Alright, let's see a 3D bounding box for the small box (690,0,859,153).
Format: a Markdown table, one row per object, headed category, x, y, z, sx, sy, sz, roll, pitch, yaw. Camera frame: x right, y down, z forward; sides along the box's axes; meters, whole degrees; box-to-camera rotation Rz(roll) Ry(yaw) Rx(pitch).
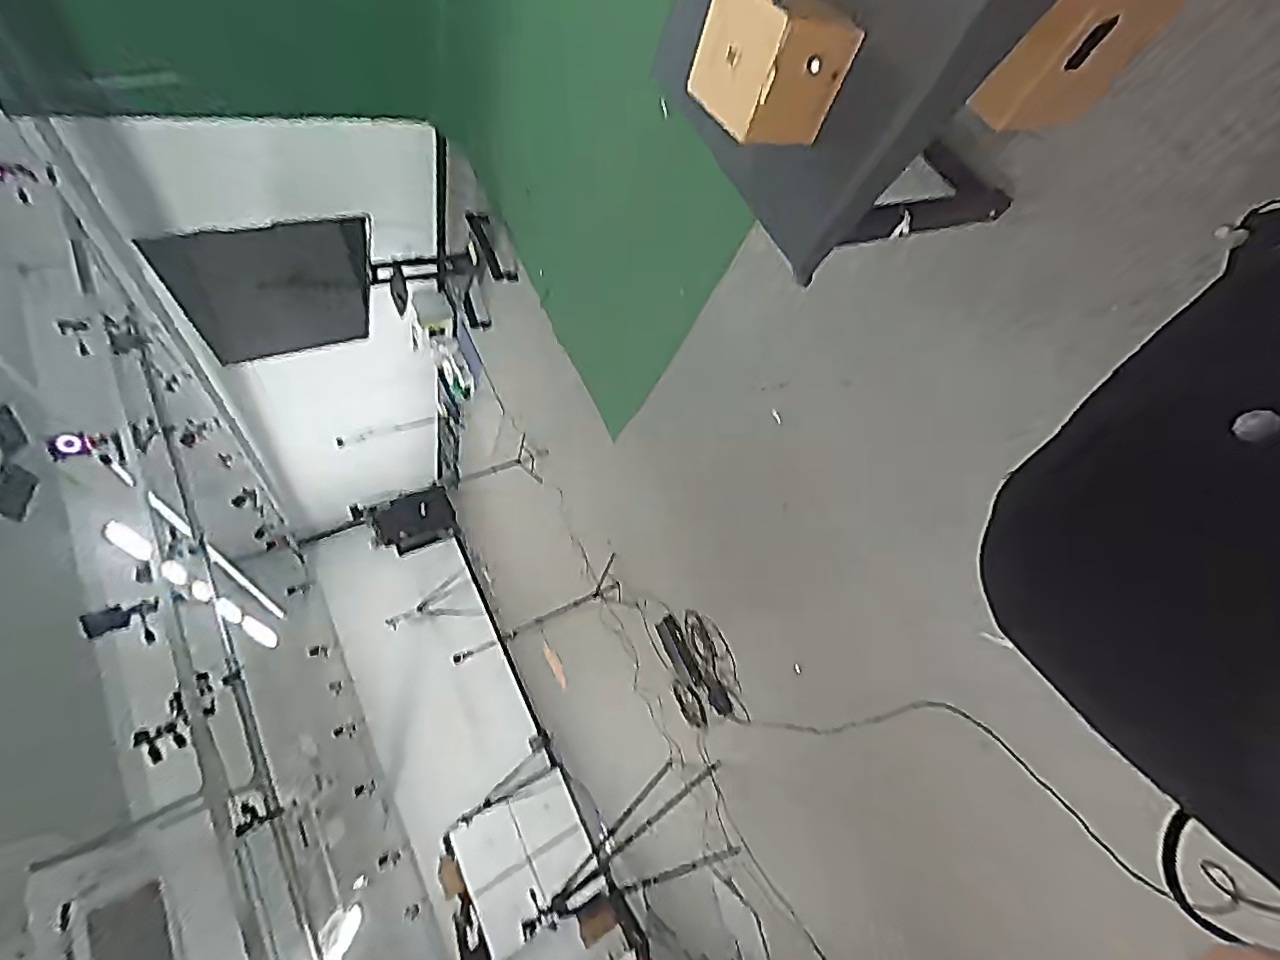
| category | x | y | z | sx | sy | sz | roll | pitch | yaw |
| --- | --- | --- | --- | --- | --- | --- | --- | --- | --- |
| small box | 0.217 | -0.665 | 0.884 | 0.179 | 0.176 | 0.168 | 59 | 149 | 24 |
